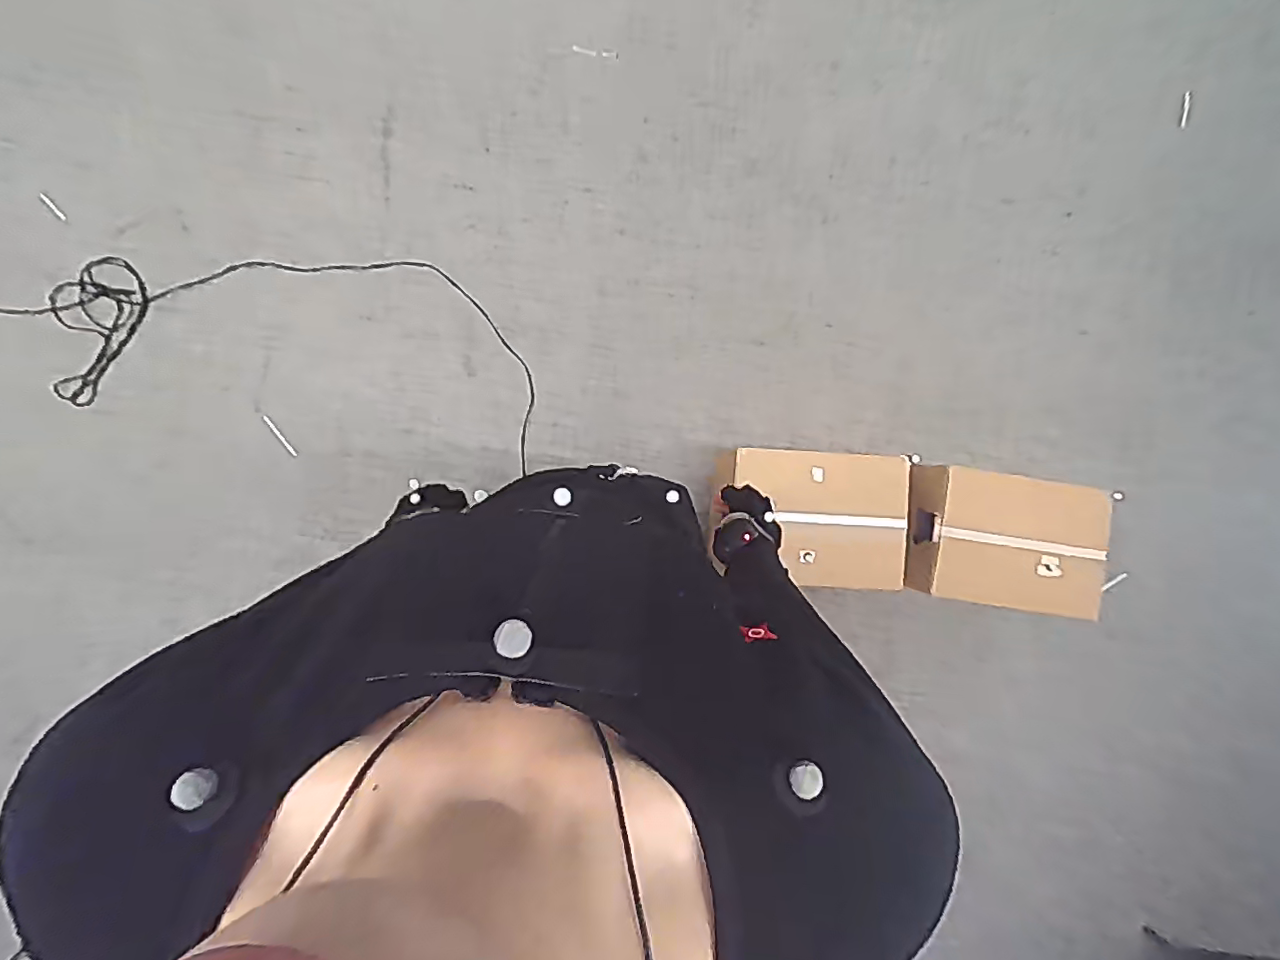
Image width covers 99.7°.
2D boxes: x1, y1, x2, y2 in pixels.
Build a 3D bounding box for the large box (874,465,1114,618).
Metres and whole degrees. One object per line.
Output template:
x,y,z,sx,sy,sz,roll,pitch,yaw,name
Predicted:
0.878,0.146,1.393,0.408,0.320,0.320,9,89,-3,large box
